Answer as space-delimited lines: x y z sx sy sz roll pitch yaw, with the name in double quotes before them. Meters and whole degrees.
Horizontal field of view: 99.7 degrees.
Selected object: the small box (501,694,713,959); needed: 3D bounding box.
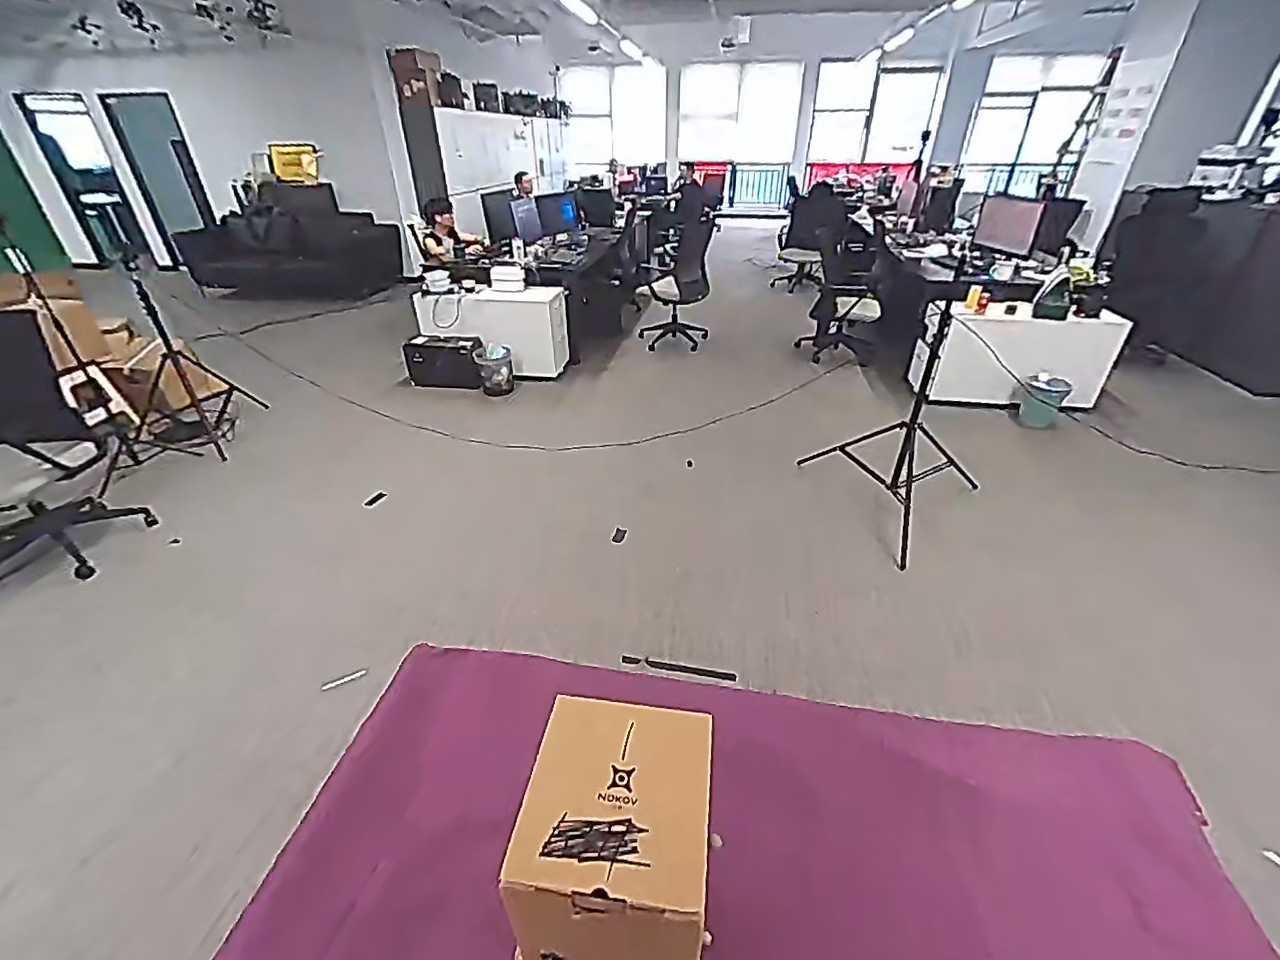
"small box" -0.018 0.344 0.529 0.168 0.176 0.179 4 32 7
